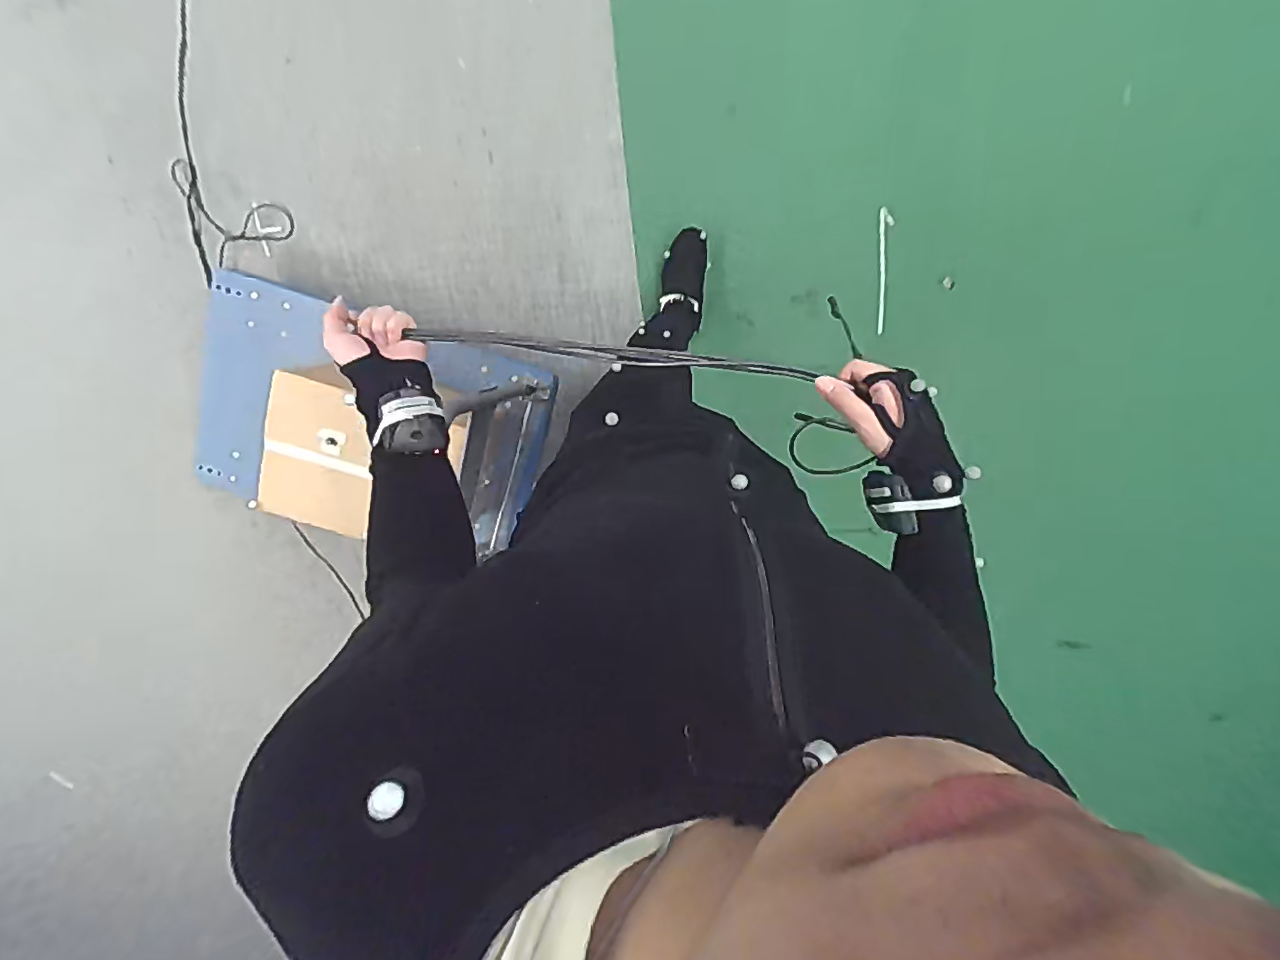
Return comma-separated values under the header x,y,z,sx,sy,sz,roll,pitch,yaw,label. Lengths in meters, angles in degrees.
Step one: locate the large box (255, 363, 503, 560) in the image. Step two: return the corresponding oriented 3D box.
x,y,z,sx,sy,sz,roll,pitch,yaw,label
-0.578,-0.059,1.260,0.408,0.320,0.320,18,104,-3,large box
